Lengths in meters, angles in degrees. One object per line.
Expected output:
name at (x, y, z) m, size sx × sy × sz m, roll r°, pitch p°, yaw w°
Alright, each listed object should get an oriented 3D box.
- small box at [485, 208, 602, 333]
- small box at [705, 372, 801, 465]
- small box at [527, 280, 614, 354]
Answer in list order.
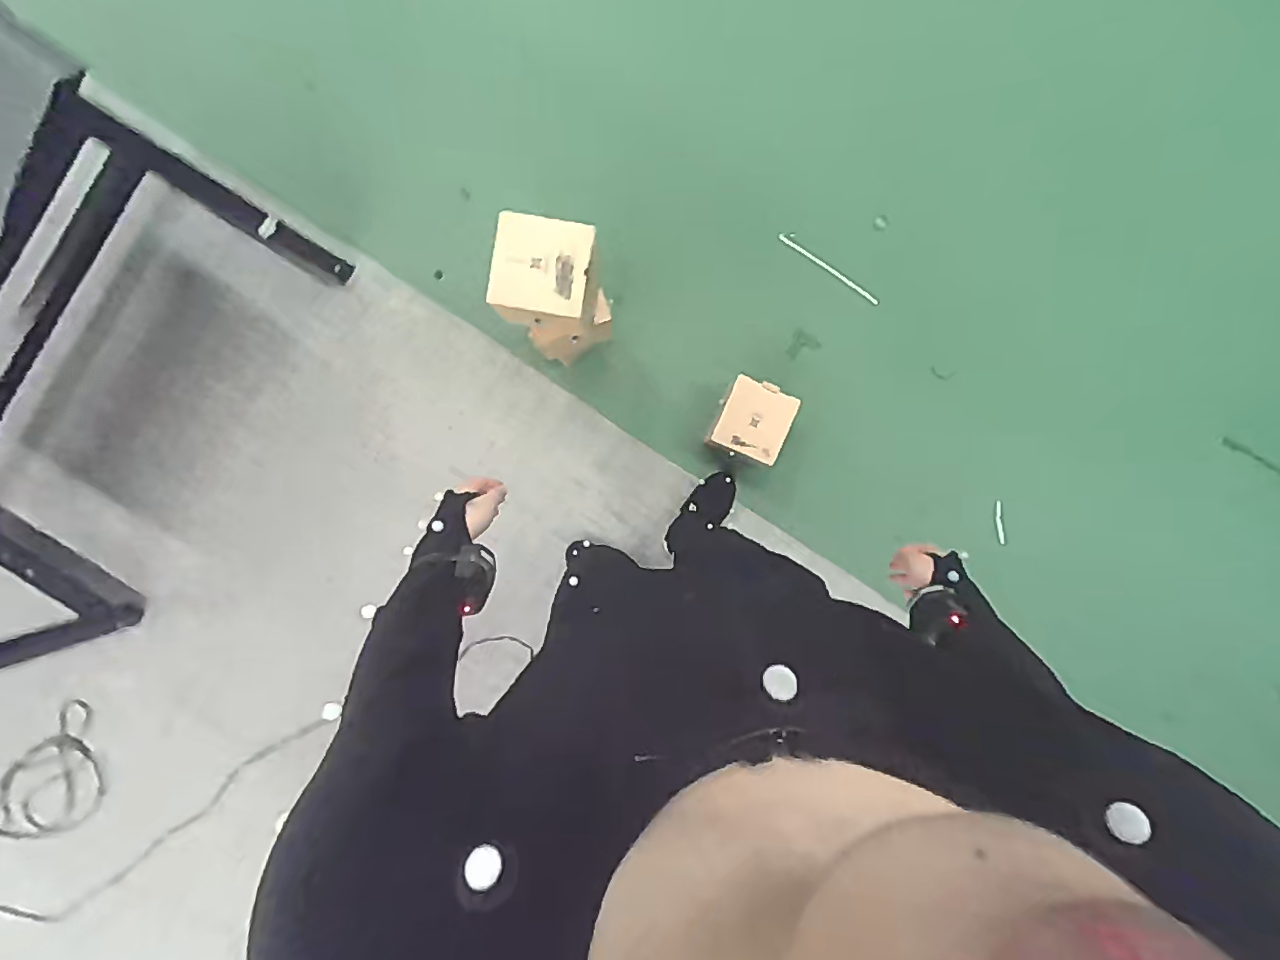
small box at (-0.175, -0.387, 1.033) m, size 0.179 × 0.176 × 0.168 m, roll 11°, pitch 94°, yaw 1°
small box at (0.275, -0.148, 1.365) m, size 0.168 × 0.176 × 0.179 m, roll 24°, pitch 92°, yaw -1°
small box at (-0.165, -0.391, 1.197) m, size 0.179 × 0.176 × 0.168 m, roll -19°, pitch 94°, yaw 1°
